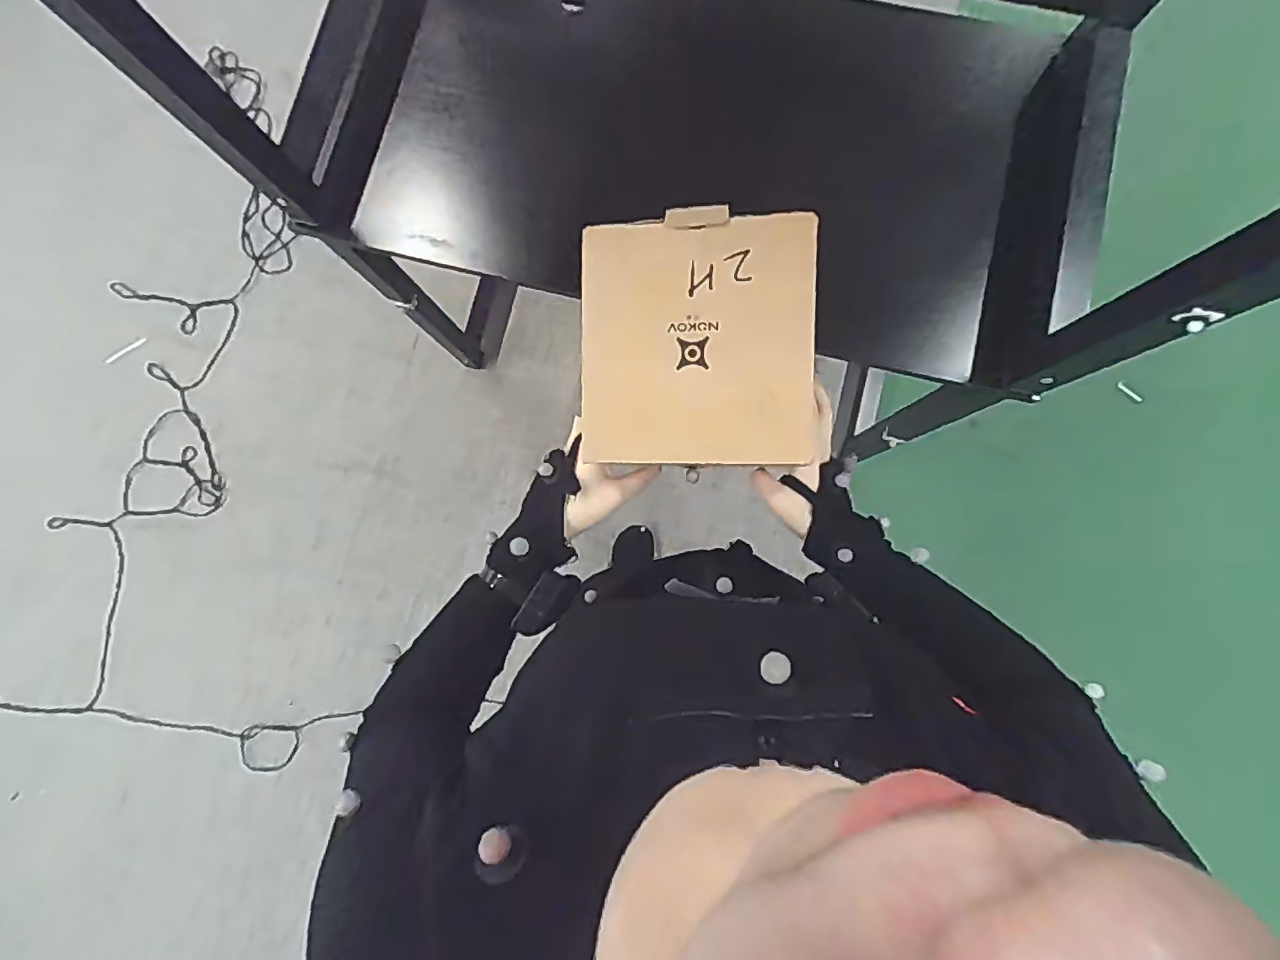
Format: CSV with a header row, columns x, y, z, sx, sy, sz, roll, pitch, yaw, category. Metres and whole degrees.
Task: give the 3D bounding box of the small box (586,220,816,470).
x,y,z,sx,sy,sz,roll,pitch,yaw,category
0.053,-0.099,0.469,0.168,0.176,0.179,1,91,8,small box
